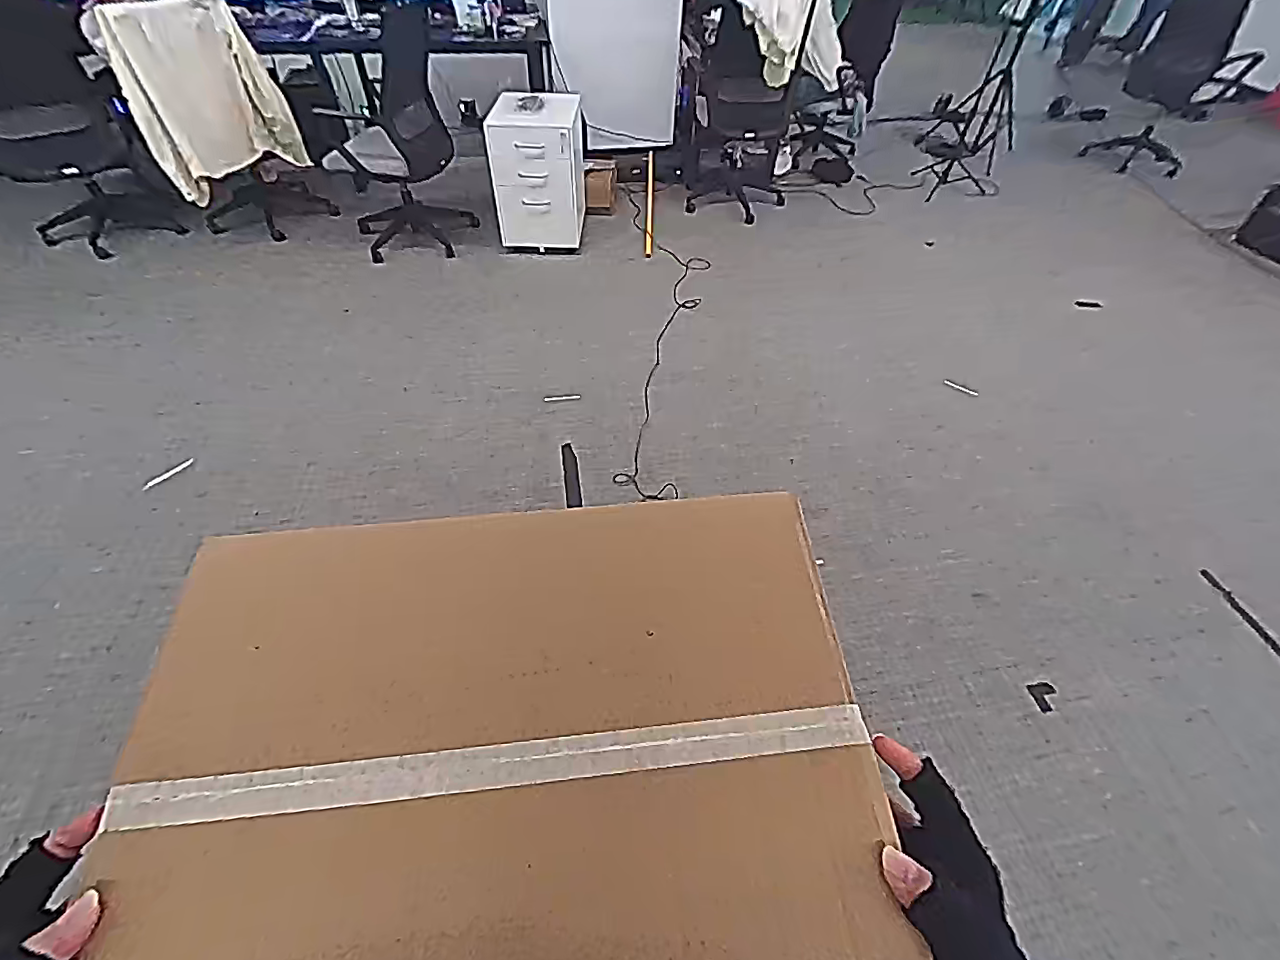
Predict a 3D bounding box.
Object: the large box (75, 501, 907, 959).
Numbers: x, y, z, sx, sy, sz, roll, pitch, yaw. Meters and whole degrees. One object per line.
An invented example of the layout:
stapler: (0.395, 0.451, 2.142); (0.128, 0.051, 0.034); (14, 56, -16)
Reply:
large box: (-0.078, 0.239, 0.432); (0.408, 0.320, 0.320); (-4, 57, -3)
